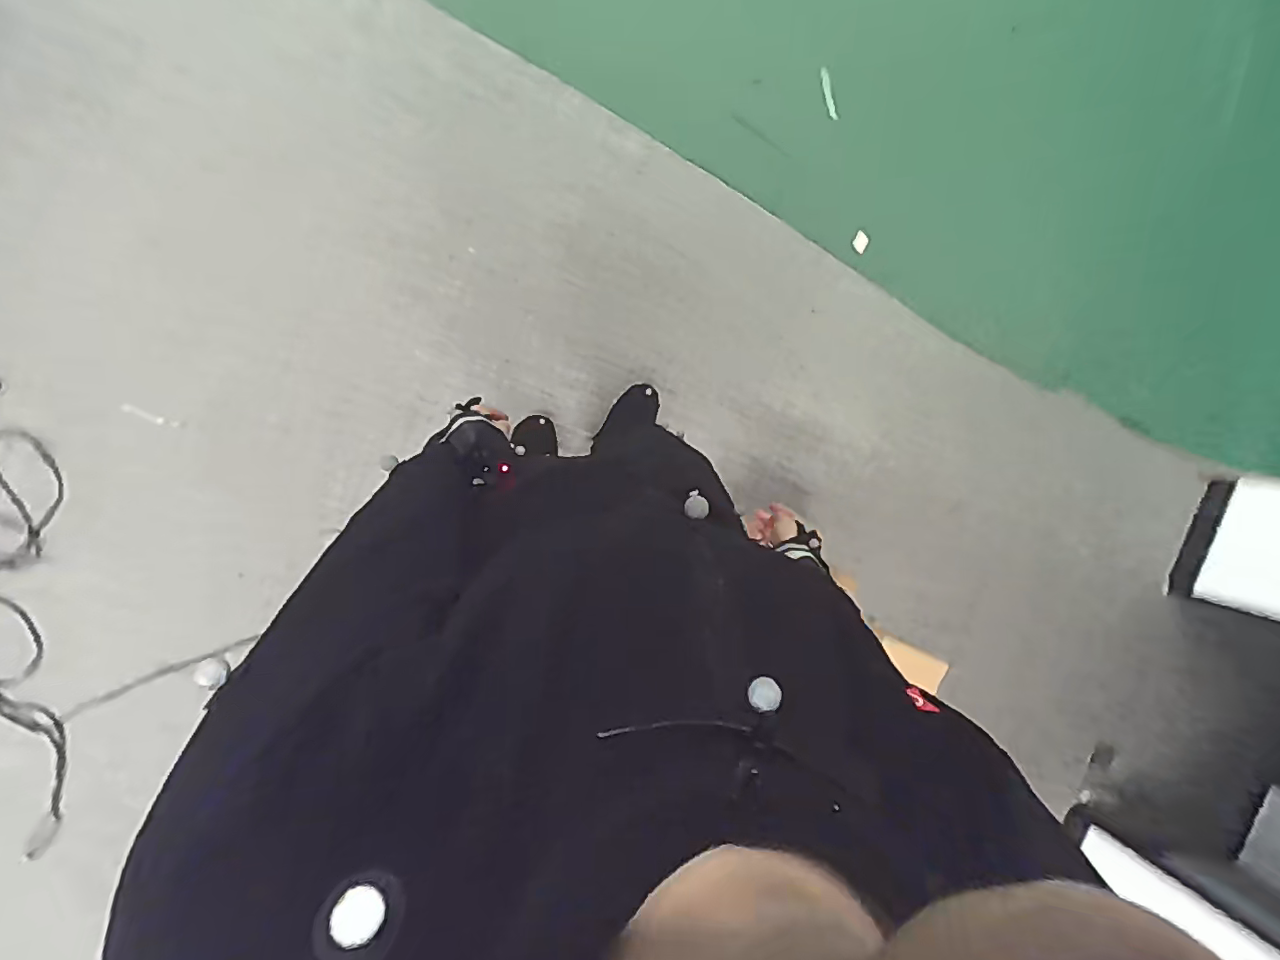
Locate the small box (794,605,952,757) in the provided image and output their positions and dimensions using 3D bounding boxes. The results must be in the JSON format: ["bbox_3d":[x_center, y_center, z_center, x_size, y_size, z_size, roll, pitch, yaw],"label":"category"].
[{"bbox_3d":[0.409,0.356,0.980,0.168,0.176,0.179,26,90,-20],"label":"small box"}]

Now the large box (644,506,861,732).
[{"bbox_3d":[0.264,0.329,1.363,0.320,0.320,0.408,29,91,-18],"label":"large box"}]
